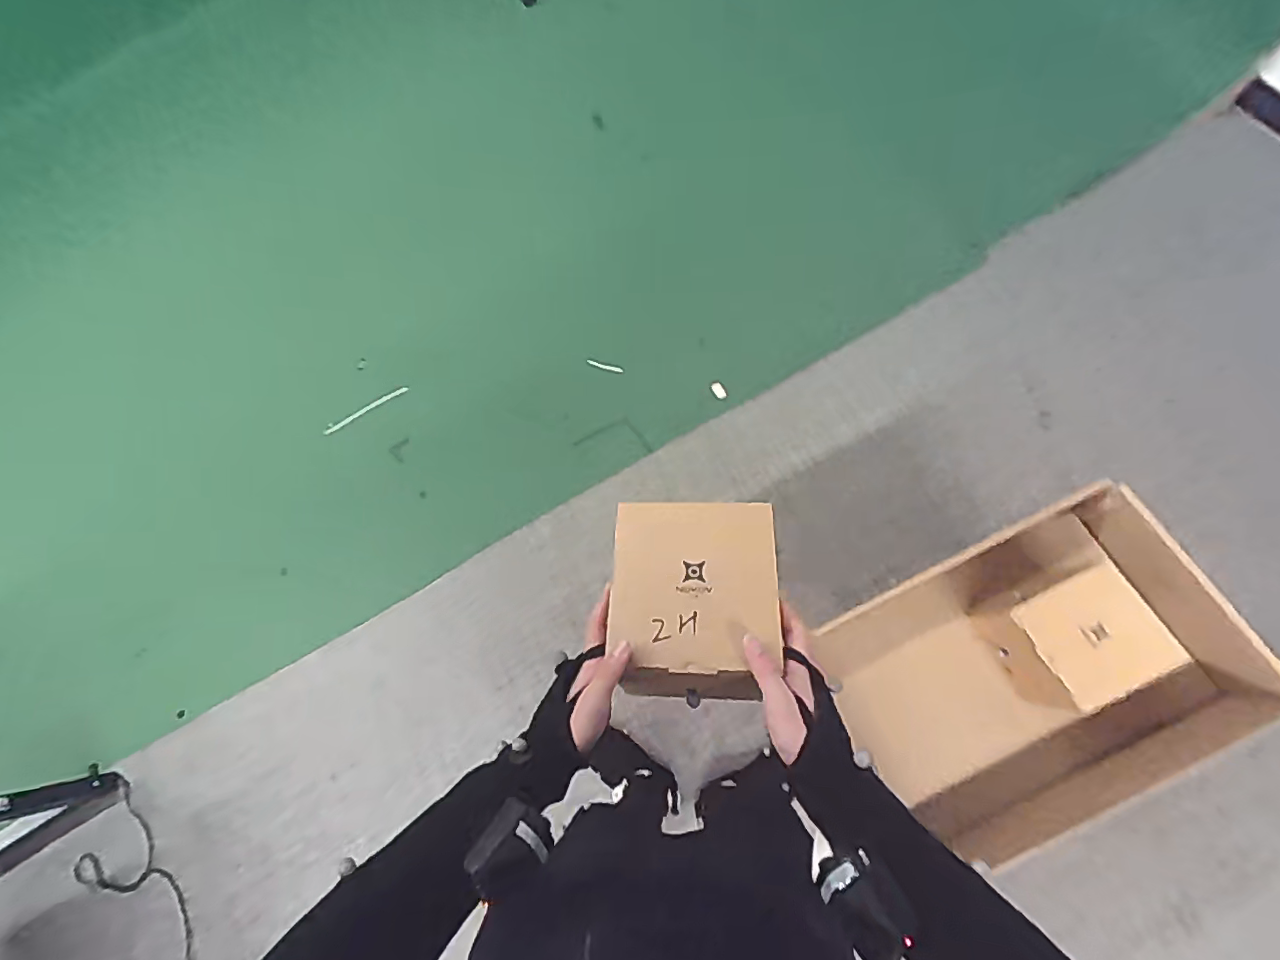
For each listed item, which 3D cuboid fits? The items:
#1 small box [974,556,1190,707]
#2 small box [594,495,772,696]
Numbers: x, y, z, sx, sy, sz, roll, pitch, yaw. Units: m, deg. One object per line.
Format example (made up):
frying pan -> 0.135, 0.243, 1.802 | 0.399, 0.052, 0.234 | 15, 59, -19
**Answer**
small box -> 0.697, 0.243, 0.880 | 0.179, 0.176, 0.168 | -29, 71, 1
small box -> 0.051, 0.133, 0.602 | 0.168, 0.176, 0.179 | -2, 60, 8
